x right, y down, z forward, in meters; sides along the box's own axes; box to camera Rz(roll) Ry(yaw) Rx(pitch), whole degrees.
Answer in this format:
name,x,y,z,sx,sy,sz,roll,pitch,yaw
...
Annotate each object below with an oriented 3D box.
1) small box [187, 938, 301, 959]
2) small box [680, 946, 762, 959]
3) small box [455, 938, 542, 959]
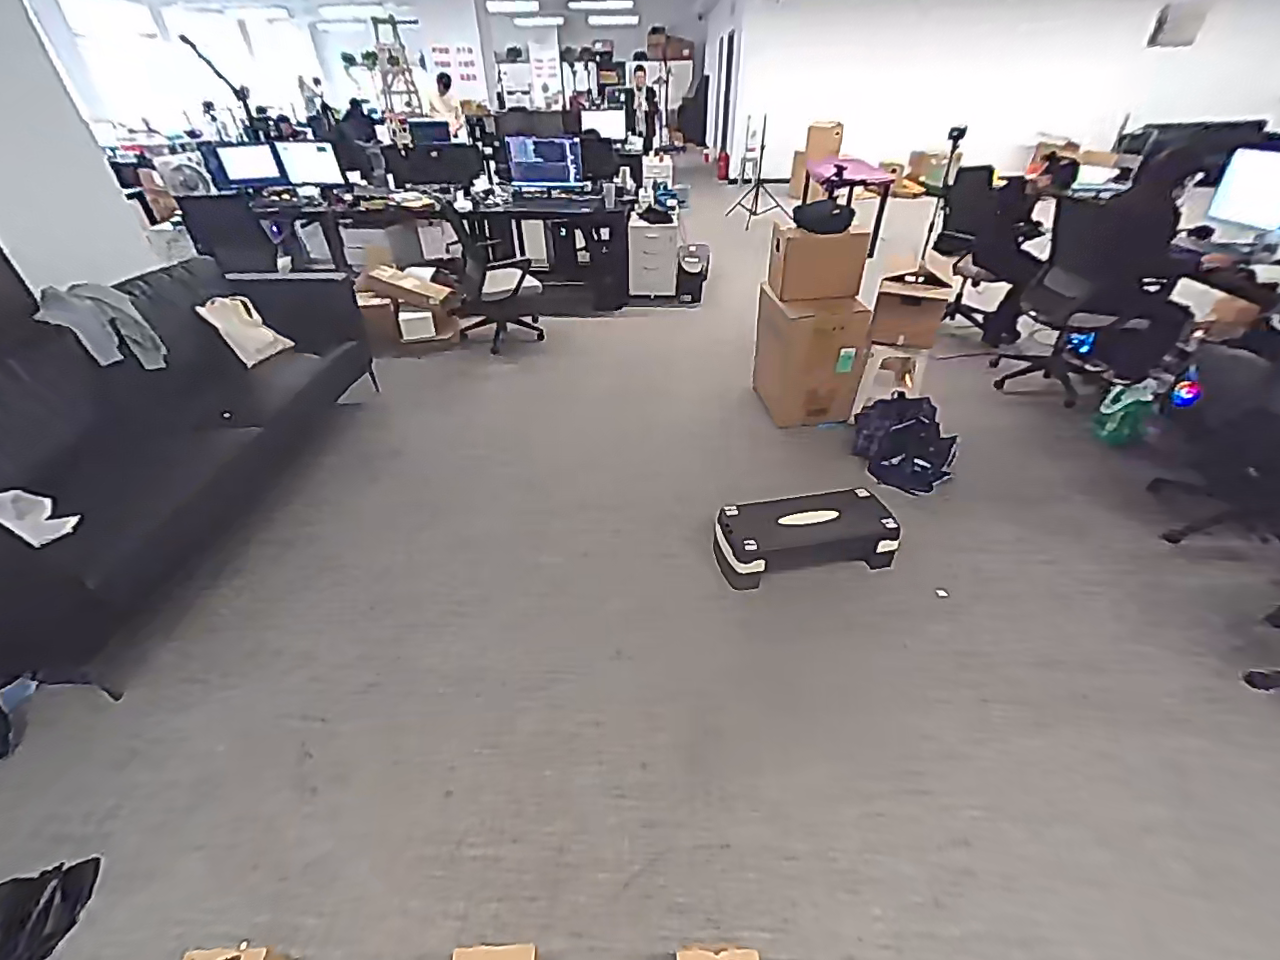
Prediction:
name,x,y,z,sx,sy,sz,roll,pitch,yaw
small box,-0.828,1.060,1.094,0.168,0.176,0.179,-1,37,0
small box,0.160,1.049,1.057,0.168,0.176,0.179,-2,37,2
small box,-0.286,1.053,1.081,0.168,0.176,0.179,-1,35,-1
